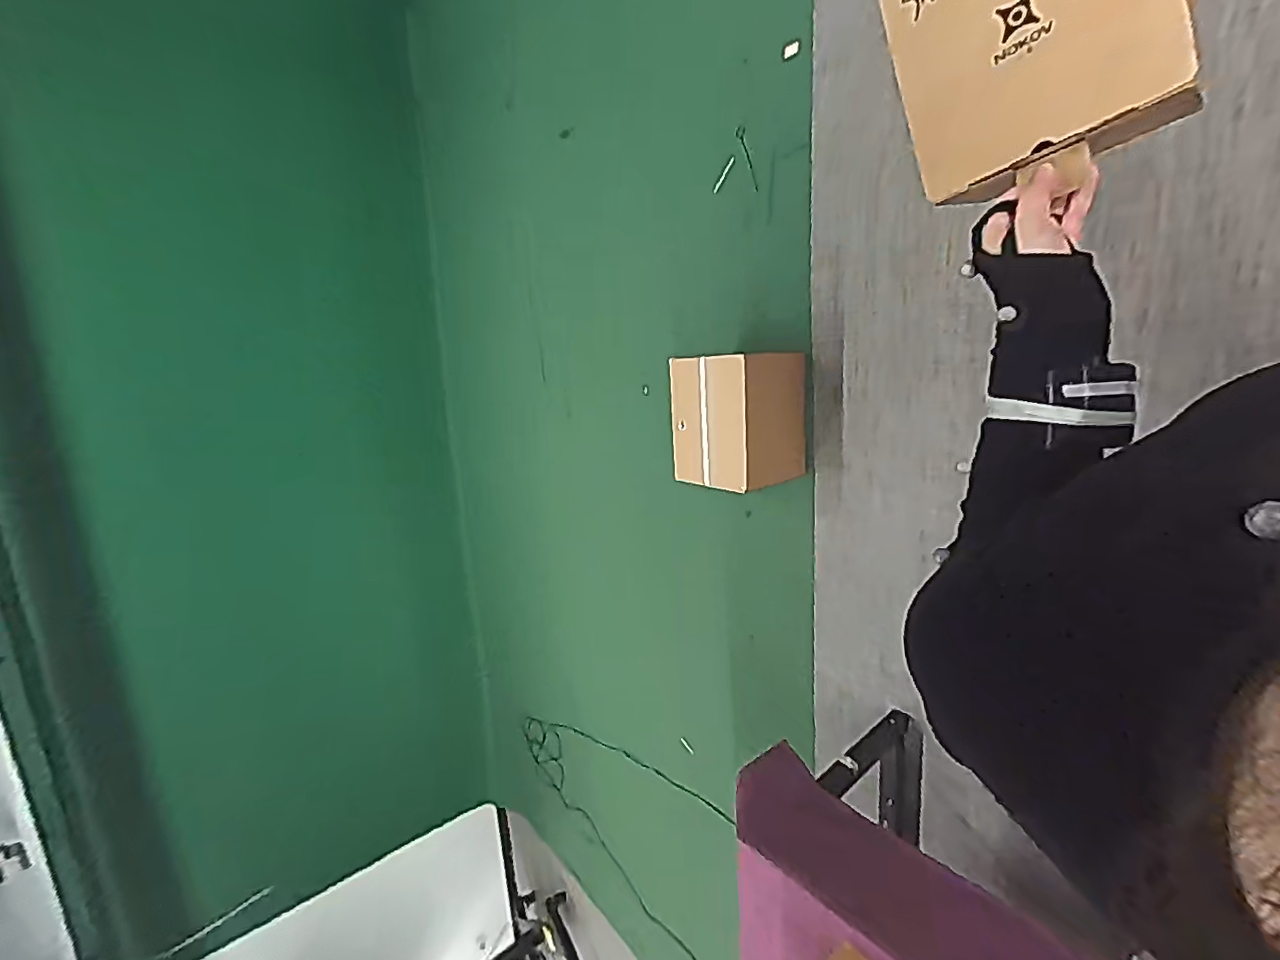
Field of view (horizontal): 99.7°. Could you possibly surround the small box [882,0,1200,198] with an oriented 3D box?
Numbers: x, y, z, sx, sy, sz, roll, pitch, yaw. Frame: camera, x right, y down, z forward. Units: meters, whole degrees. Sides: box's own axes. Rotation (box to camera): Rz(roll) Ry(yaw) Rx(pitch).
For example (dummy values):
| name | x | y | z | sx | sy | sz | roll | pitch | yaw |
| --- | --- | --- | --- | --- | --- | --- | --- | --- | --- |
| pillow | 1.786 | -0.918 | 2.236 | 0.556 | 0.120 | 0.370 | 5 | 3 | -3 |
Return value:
| name | x | y | z | sx | sy | sz | roll | pitch | yaw |
| --- | --- | --- | --- | --- | --- | --- | --- | --- | --- |
| small box | 0.330 | -0.360 | 0.444 | 0.168 | 0.176 | 0.179 | -8 | 105 | 49 |
